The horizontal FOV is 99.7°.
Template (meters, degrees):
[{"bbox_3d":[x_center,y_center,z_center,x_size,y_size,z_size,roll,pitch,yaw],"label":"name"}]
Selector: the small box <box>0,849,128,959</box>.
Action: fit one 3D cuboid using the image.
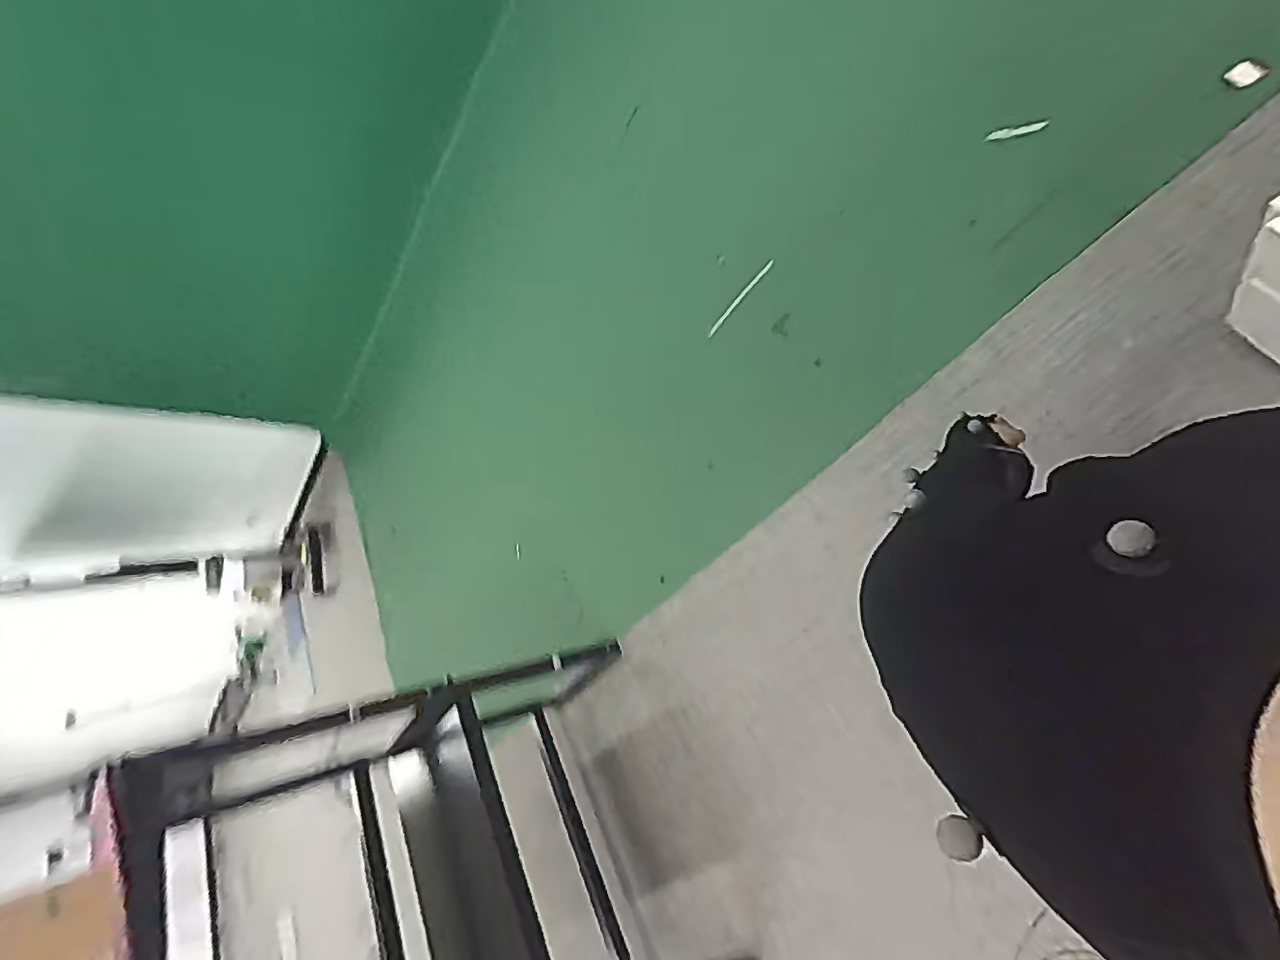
[{"bbox_3d":[-1.106,0.841,1.036,0.168,0.176,0.179,-44,63,38],"label":"small box"}]
